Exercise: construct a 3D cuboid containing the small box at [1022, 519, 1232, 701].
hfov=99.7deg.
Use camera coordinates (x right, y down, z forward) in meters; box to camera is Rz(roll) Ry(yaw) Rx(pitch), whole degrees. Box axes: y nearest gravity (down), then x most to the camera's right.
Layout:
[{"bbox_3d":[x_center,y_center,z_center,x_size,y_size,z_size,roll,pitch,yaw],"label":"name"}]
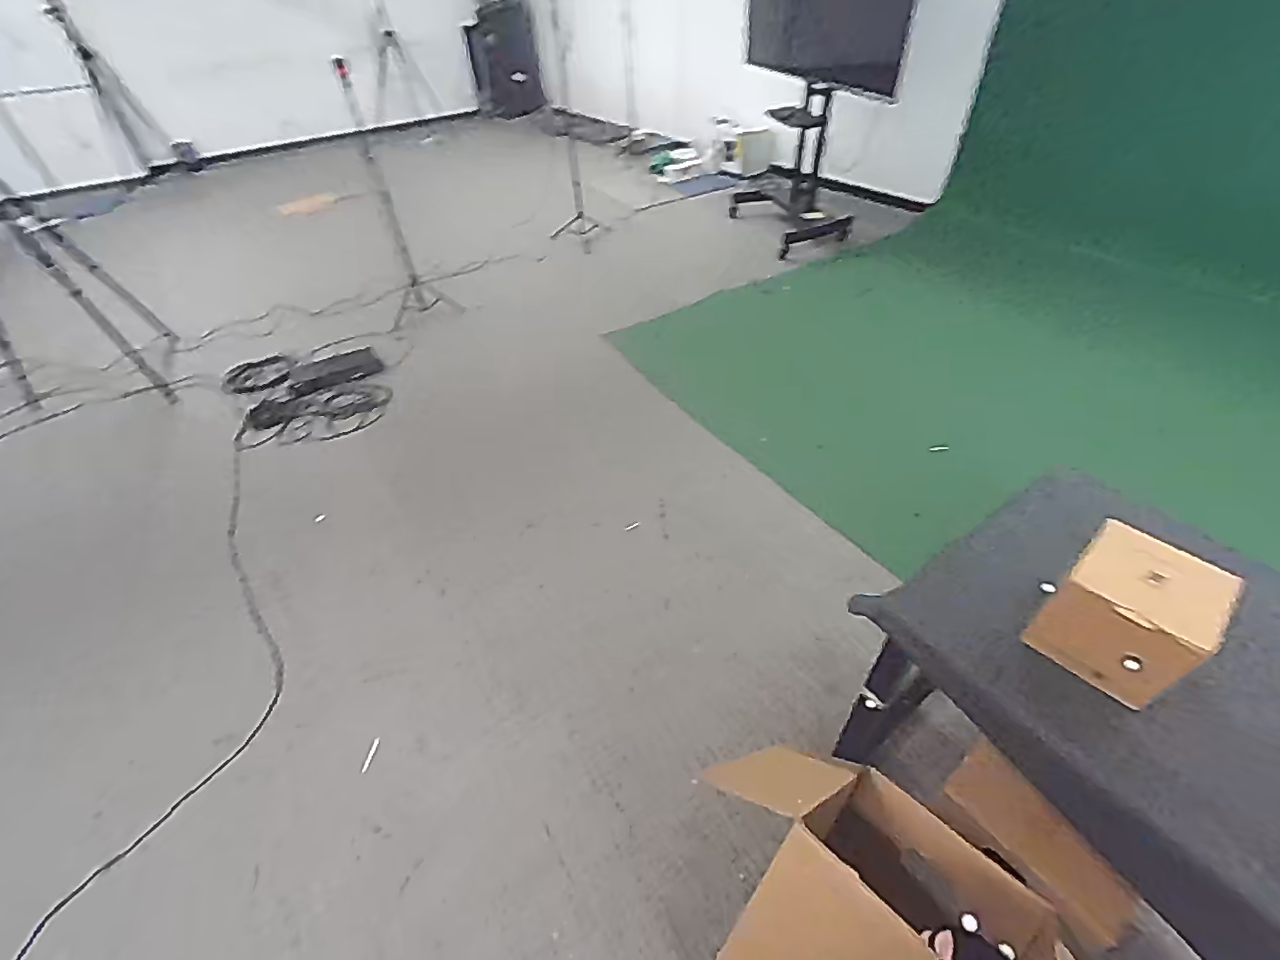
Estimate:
[{"bbox_3d":[0.730,0.200,0.830,0.179,0.176,0.168,-32,52,-29],"label":"small box"}]
